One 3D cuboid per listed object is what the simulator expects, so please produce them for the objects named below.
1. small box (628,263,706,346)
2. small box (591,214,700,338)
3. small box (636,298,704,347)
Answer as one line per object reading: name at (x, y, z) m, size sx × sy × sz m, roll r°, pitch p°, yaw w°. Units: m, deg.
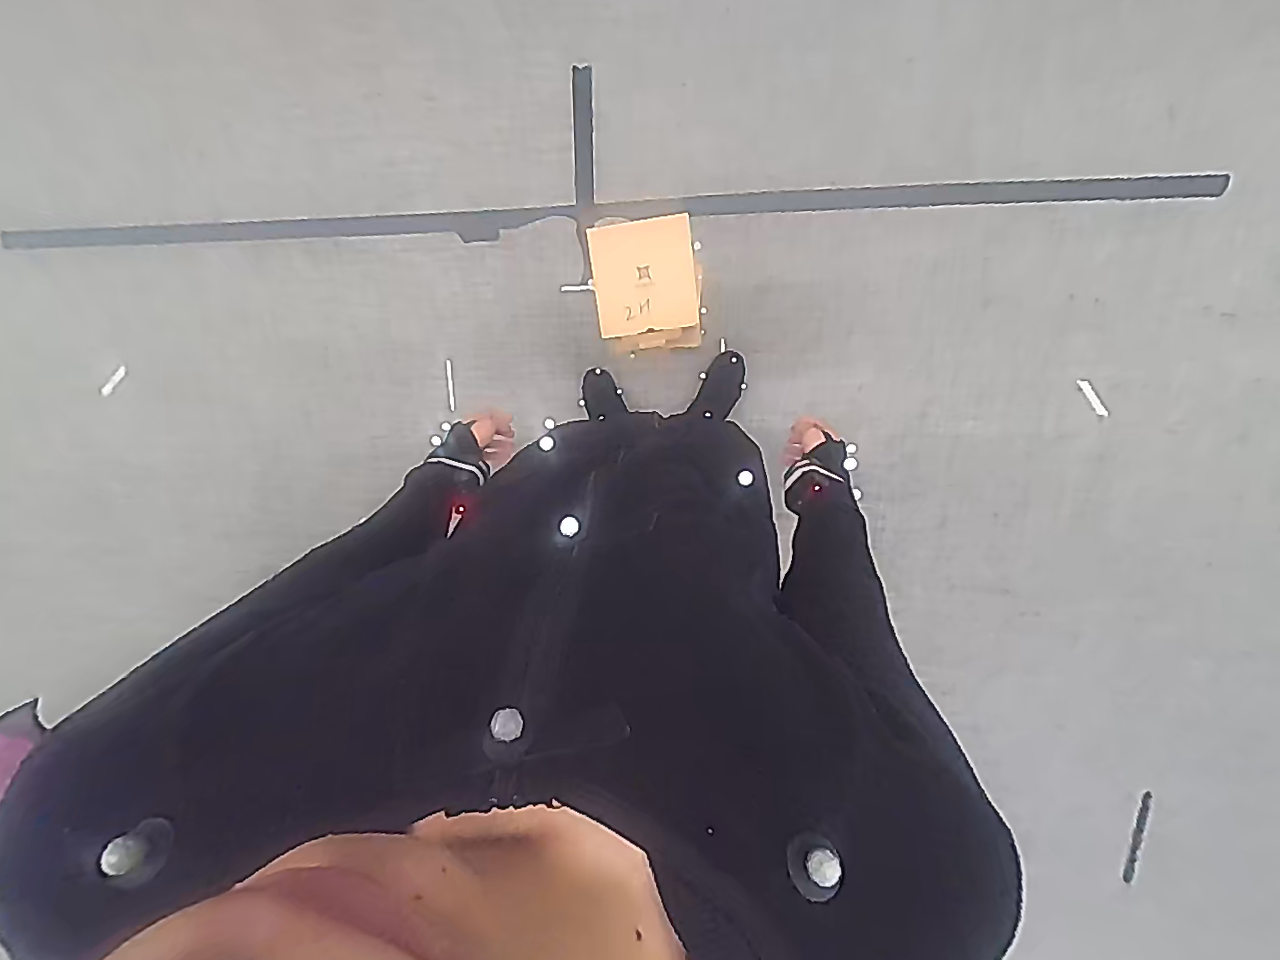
small box at (0.062, -0.412, 1.275) m, size 0.168 × 0.176 × 0.179 m, roll 4°, pitch 106°, yaw 3°
small box at (0.015, -0.348, 0.954) m, size 0.168 × 0.176 × 0.179 m, roll -6°, pitch 105°, yaw 6°
small box at (0.079, -0.443, 1.434) m, size 0.179 × 0.176 × 0.168 m, roll 0°, pitch 105°, yaw 6°
